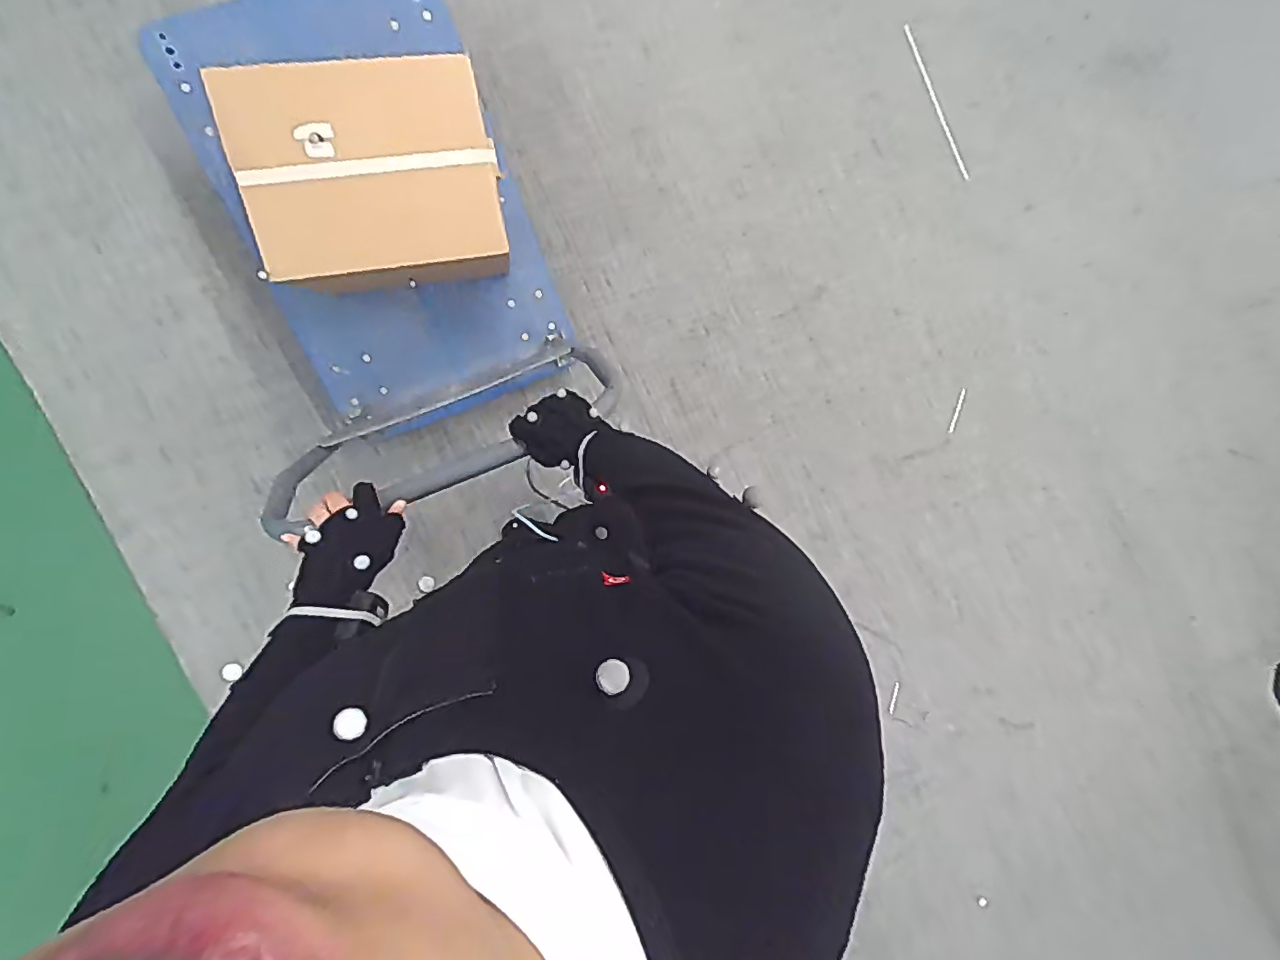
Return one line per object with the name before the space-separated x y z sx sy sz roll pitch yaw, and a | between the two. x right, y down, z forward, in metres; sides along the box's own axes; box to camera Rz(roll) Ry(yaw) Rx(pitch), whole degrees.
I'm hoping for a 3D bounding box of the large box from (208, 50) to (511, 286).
large box | -0.481 -0.566 1.041 0.408 0.320 0.320 -11 107 -10
